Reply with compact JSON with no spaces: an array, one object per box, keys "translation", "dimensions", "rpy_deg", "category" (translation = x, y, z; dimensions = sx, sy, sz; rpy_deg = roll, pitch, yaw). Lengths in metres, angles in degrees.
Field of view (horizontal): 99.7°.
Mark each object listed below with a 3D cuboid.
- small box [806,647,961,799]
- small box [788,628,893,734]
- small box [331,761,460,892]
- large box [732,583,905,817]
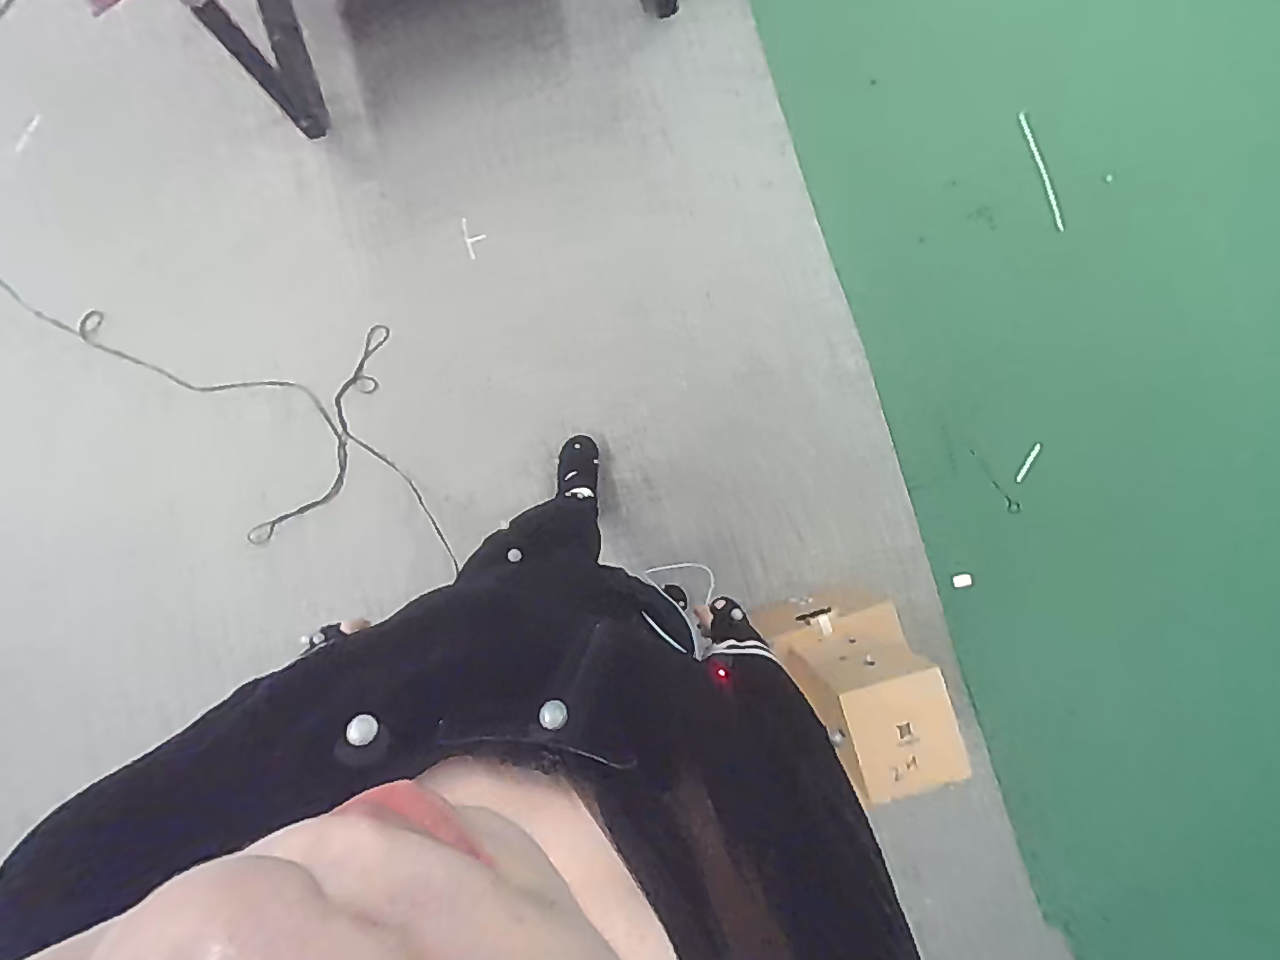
[{"translation":[0.402,0.399,0.925],"dimensions":[0.168,0.176,0.179],"rpy_deg":[-15,87,0],"category":"small box"},{"translation":[0.413,0.409,1.089],"dimensions":[0.168,0.176,0.179],"rpy_deg":[-15,87,0],"category":"small box"},{"translation":[-0.482,0.692,1.086],"dimensions":[0.179,0.176,0.168],"rpy_deg":[-7,89,0],"category":"small box"},{"translation":[0.452,0.505,1.327],"dimensions":[0.320,0.320,0.408],"rpy_deg":[-17,87,0],"category":"large box"}]
